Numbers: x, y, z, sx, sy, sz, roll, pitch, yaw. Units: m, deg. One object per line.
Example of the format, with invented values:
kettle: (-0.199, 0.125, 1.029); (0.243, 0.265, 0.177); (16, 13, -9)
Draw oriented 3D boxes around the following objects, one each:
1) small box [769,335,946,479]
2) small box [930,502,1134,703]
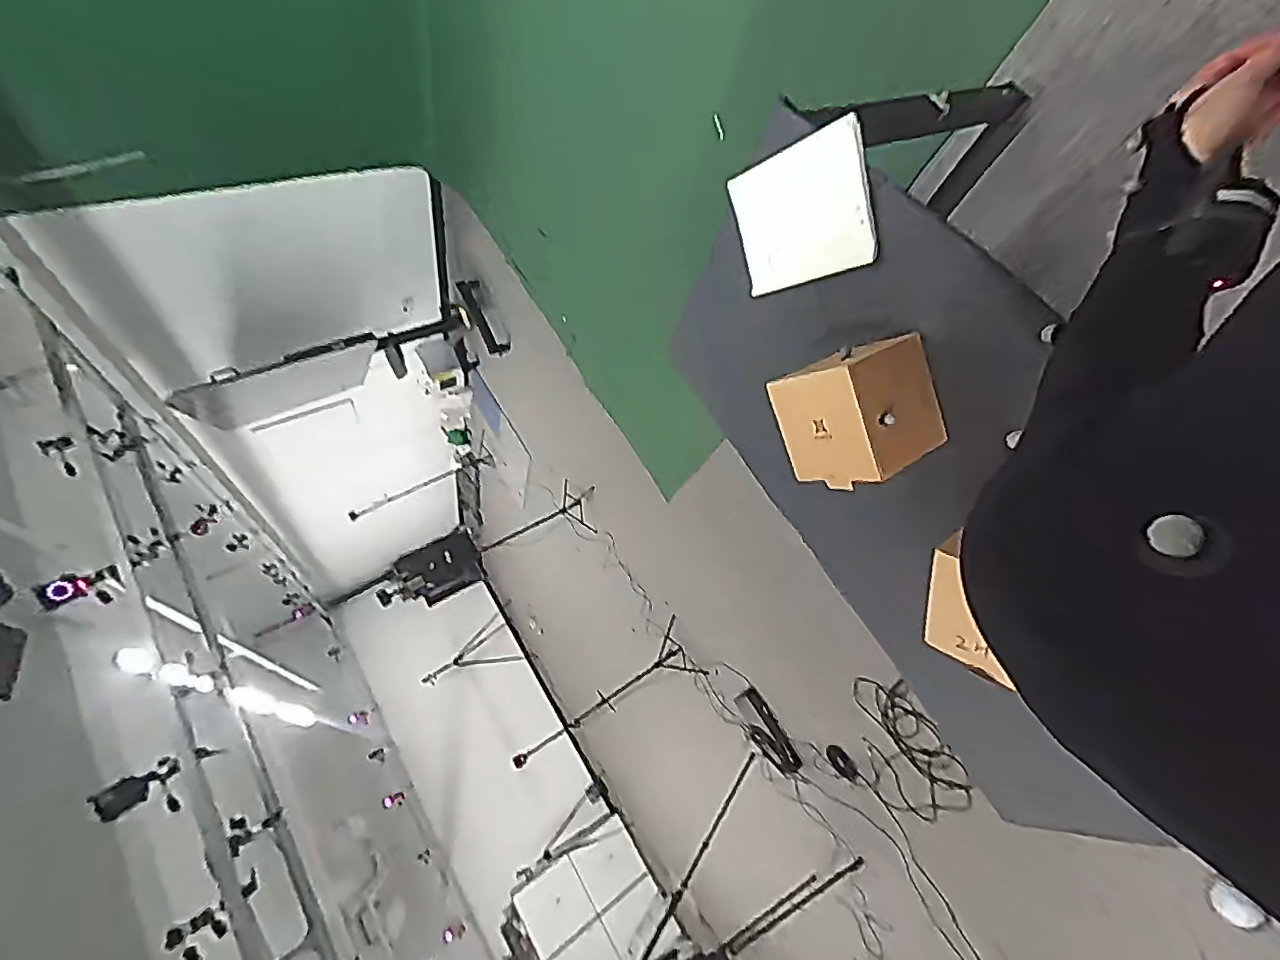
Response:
small box: (0.339, -0.113, 0.844); (0.168, 0.176, 0.179); (-2, 113, 61)
small box: (0.531, 0.154, 0.740); (0.168, 0.176, 0.179); (28, 137, 50)
